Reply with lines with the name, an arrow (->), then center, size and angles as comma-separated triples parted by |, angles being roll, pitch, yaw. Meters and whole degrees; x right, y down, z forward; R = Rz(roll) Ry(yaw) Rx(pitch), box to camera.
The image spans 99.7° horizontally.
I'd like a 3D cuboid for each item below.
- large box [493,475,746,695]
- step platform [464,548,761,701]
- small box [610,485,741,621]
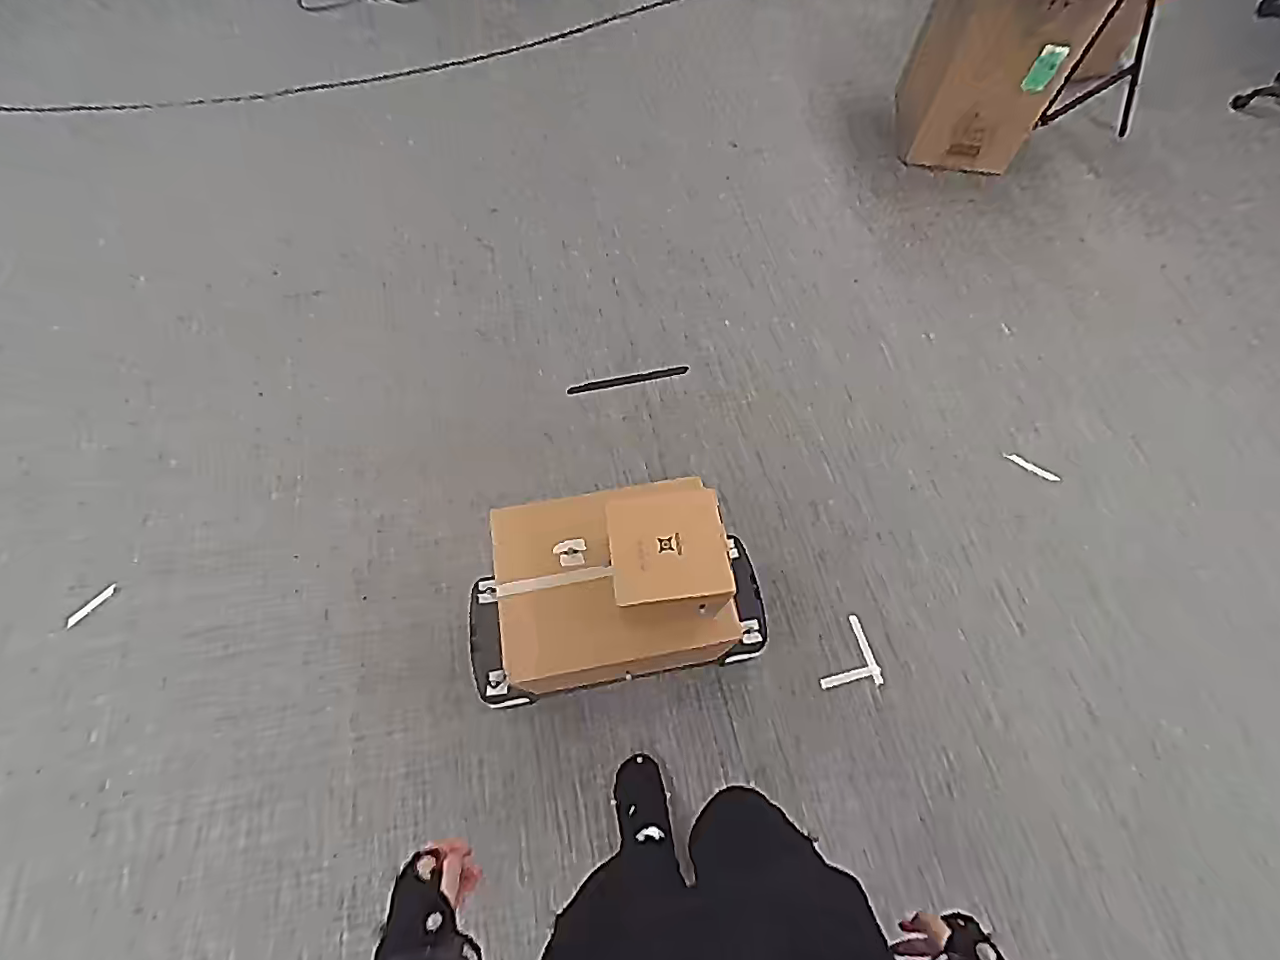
large box -> -0.044, 0.223, 1.083 | 0.408, 0.320, 0.320 | -10, 65, -5
step platform -> -0.061, 0.341, 1.290 | 0.684, 0.204, 0.286 | -5, 65, -3
small box -> 0.047, 0.121, 0.861 | 0.179, 0.176, 0.168 | -7, 66, -3
